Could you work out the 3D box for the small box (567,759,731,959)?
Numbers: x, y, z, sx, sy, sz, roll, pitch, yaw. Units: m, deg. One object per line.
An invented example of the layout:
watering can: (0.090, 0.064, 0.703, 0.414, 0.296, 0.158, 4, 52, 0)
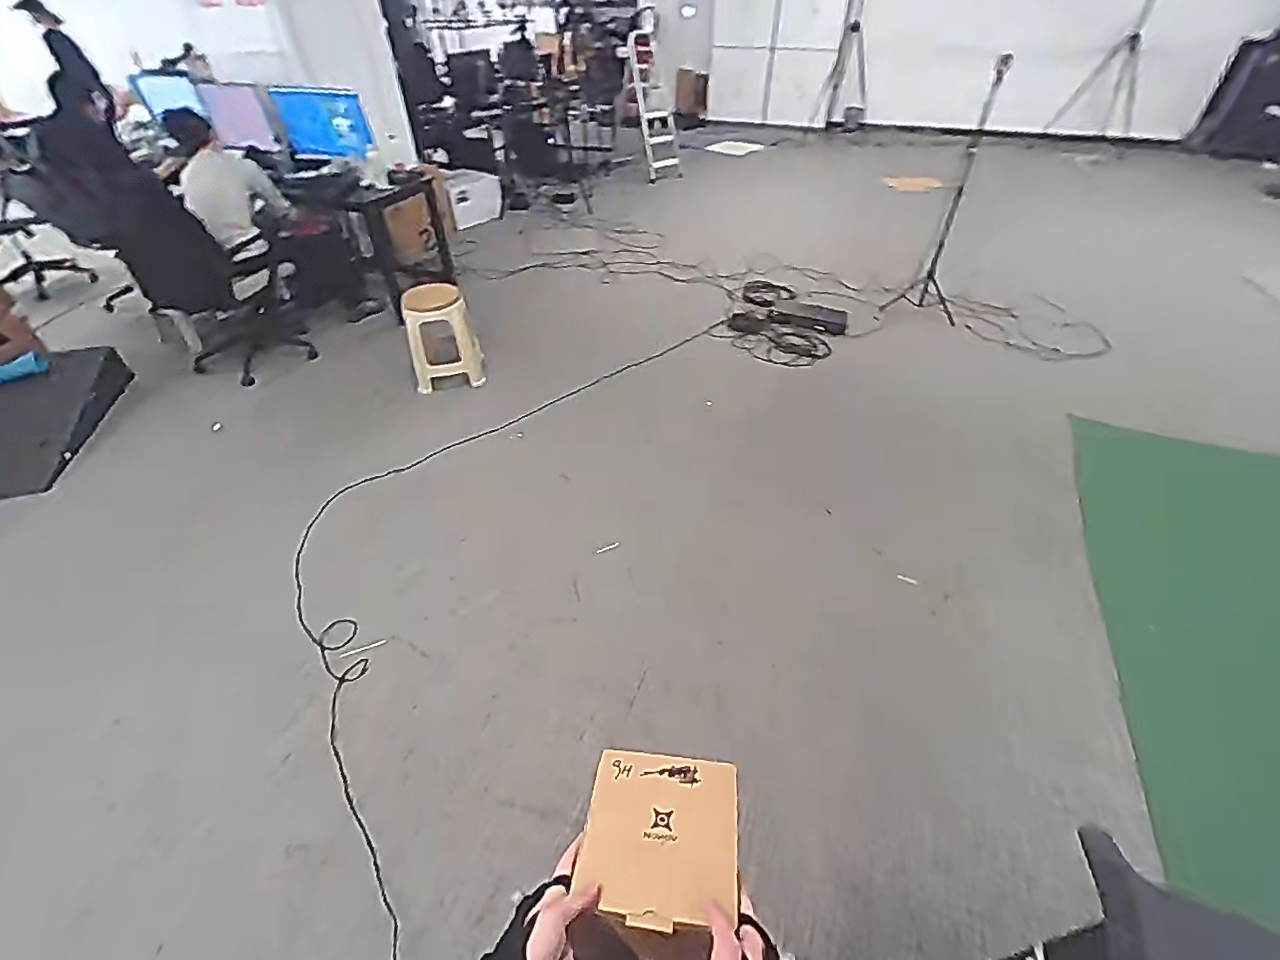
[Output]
small box: (0.019, 0.462, 0.632, 0.168, 0.176, 0.179, 1, 28, 5)
